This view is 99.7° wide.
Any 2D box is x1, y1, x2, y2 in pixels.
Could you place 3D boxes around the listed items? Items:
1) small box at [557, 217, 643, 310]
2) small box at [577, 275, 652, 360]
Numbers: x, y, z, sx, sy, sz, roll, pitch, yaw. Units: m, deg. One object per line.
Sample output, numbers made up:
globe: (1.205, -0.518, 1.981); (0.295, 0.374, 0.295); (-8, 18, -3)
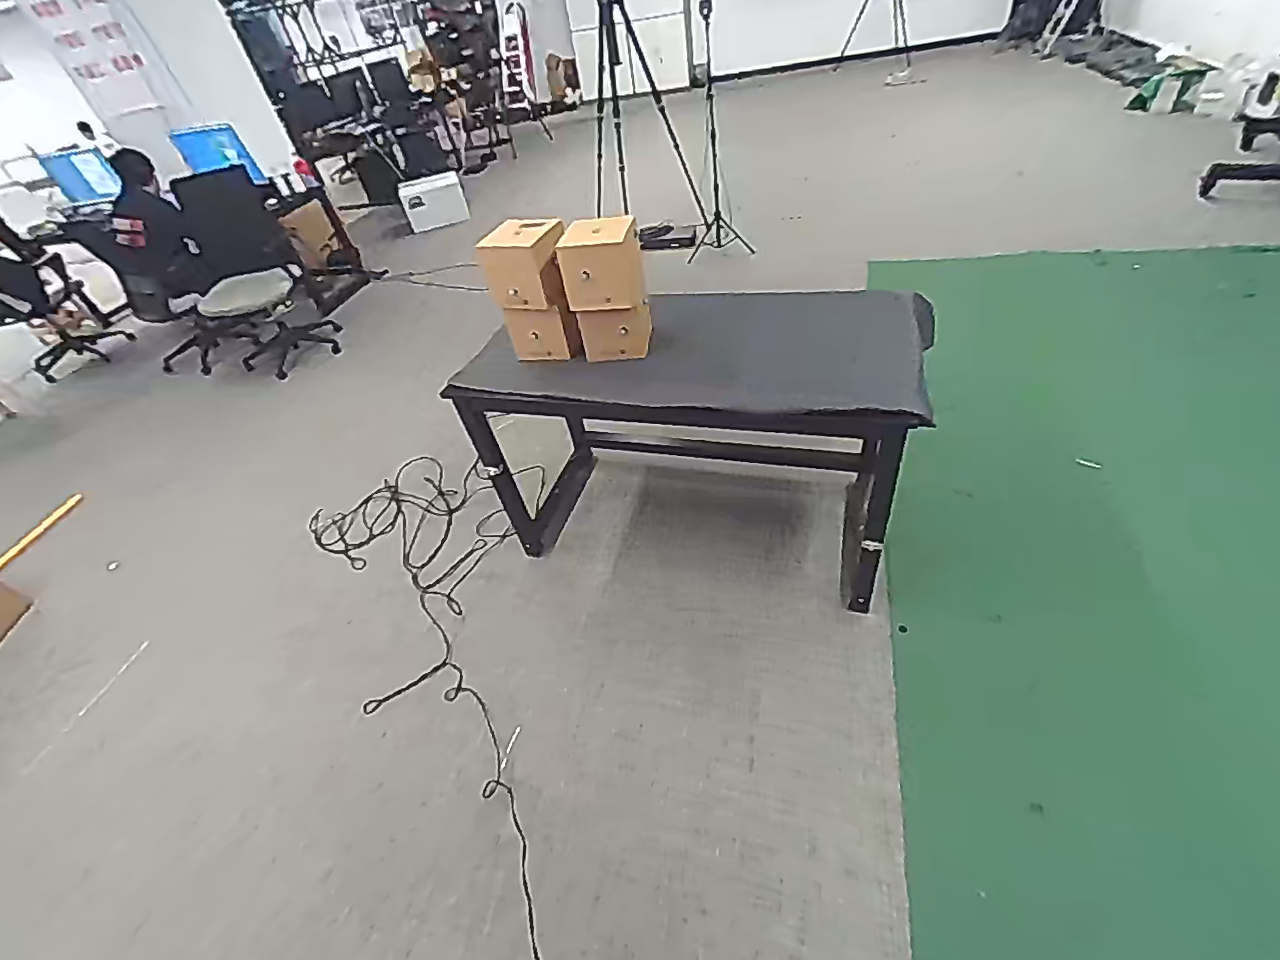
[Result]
small box: (-0.092, -0.541, 1.365); (0.168, 0.176, 0.179); (1, 44, 12)
small box: (-0.063, -0.444, 1.495); (0.168, 0.176, 0.179); (-1, 43, 10)
